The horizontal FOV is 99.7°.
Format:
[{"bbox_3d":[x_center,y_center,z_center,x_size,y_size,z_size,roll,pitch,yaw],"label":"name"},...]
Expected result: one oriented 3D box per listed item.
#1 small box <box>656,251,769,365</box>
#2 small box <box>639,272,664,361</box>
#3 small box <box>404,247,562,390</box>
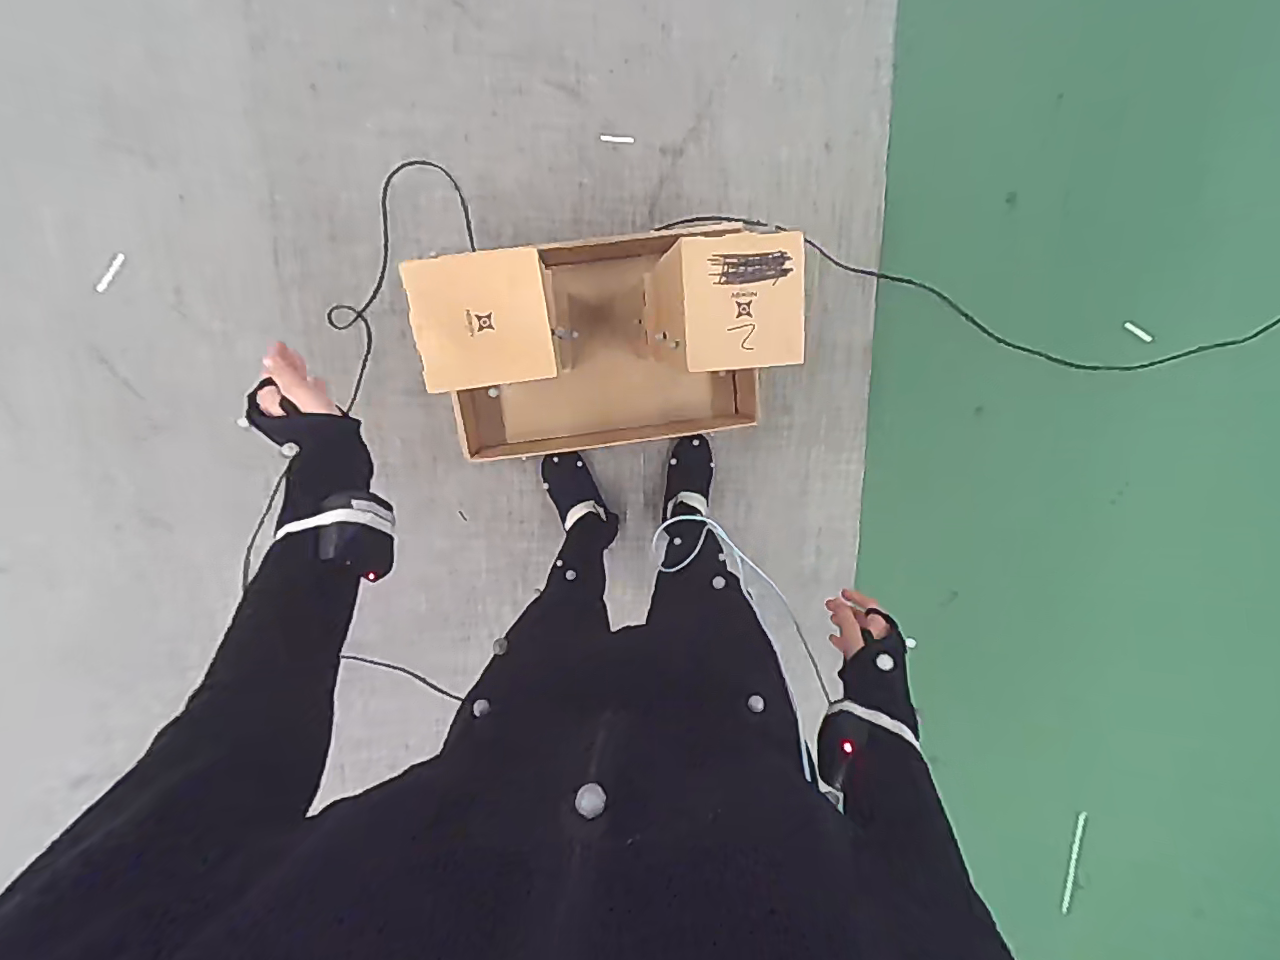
[{"bbox_3d":[0.121,-0.297,0.958,0.168,0.176,0.179,-4,102,-6],"label":"small box"},{"bbox_3d":[0.090,-0.332,1.117,0.179,0.176,0.168,-3,103,-4],"label":"small box"},{"bbox_3d":[-0.208,-0.227,0.775,0.179,0.176,0.168,-8,105,-3],"label":"small box"}]
